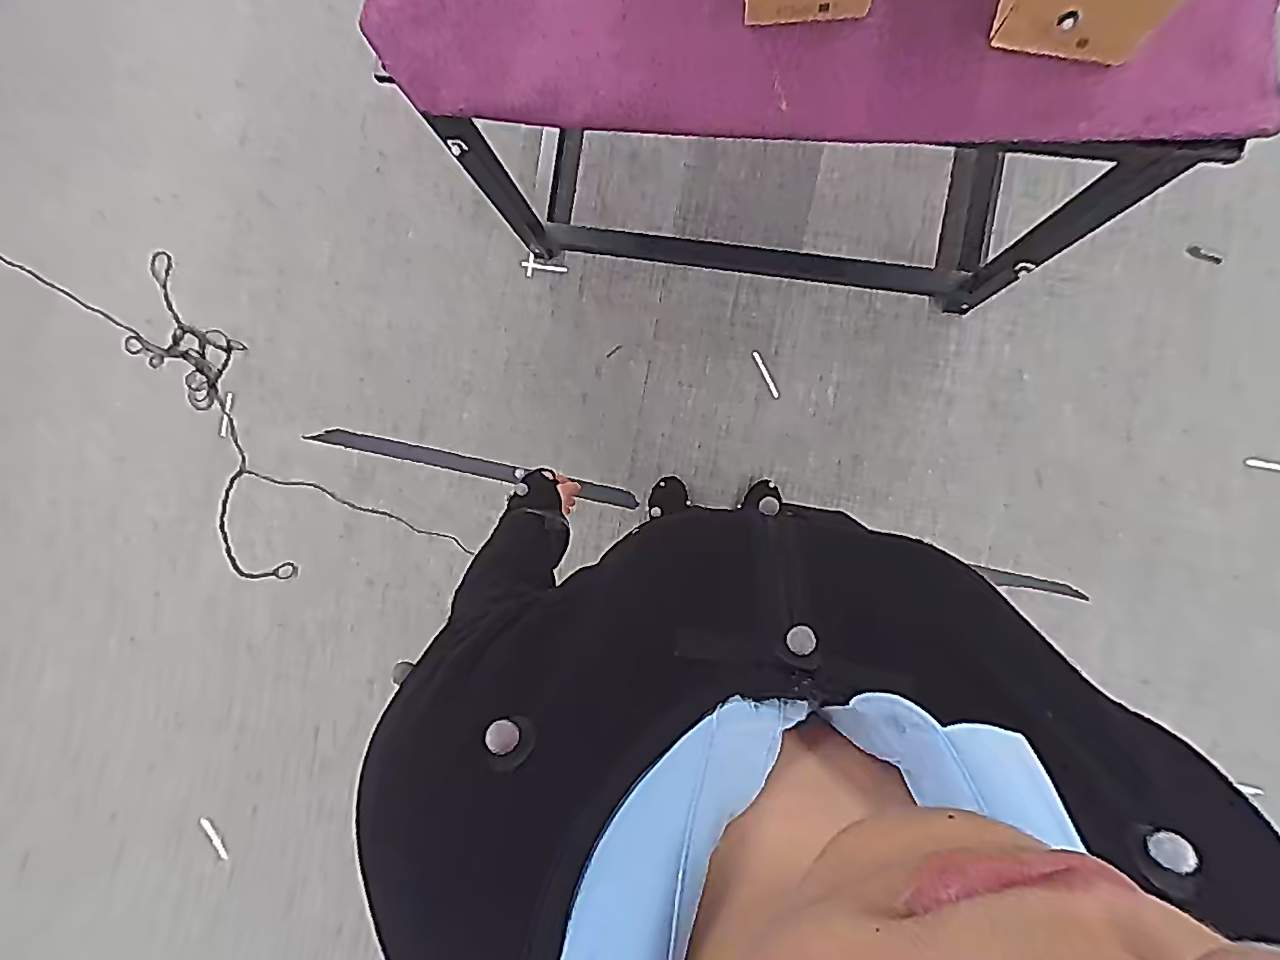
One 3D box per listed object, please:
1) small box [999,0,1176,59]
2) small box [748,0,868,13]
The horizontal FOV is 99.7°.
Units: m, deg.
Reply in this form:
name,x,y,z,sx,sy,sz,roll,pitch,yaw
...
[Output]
name,x,y,z,sx,sy,sz,roll,pitch,yaw
small box,0.558,-0.649,0.627,0.168,0.176,0.179,15,91,7
small box,0.223,-0.724,0.667,0.168,0.176,0.179,1,90,6
